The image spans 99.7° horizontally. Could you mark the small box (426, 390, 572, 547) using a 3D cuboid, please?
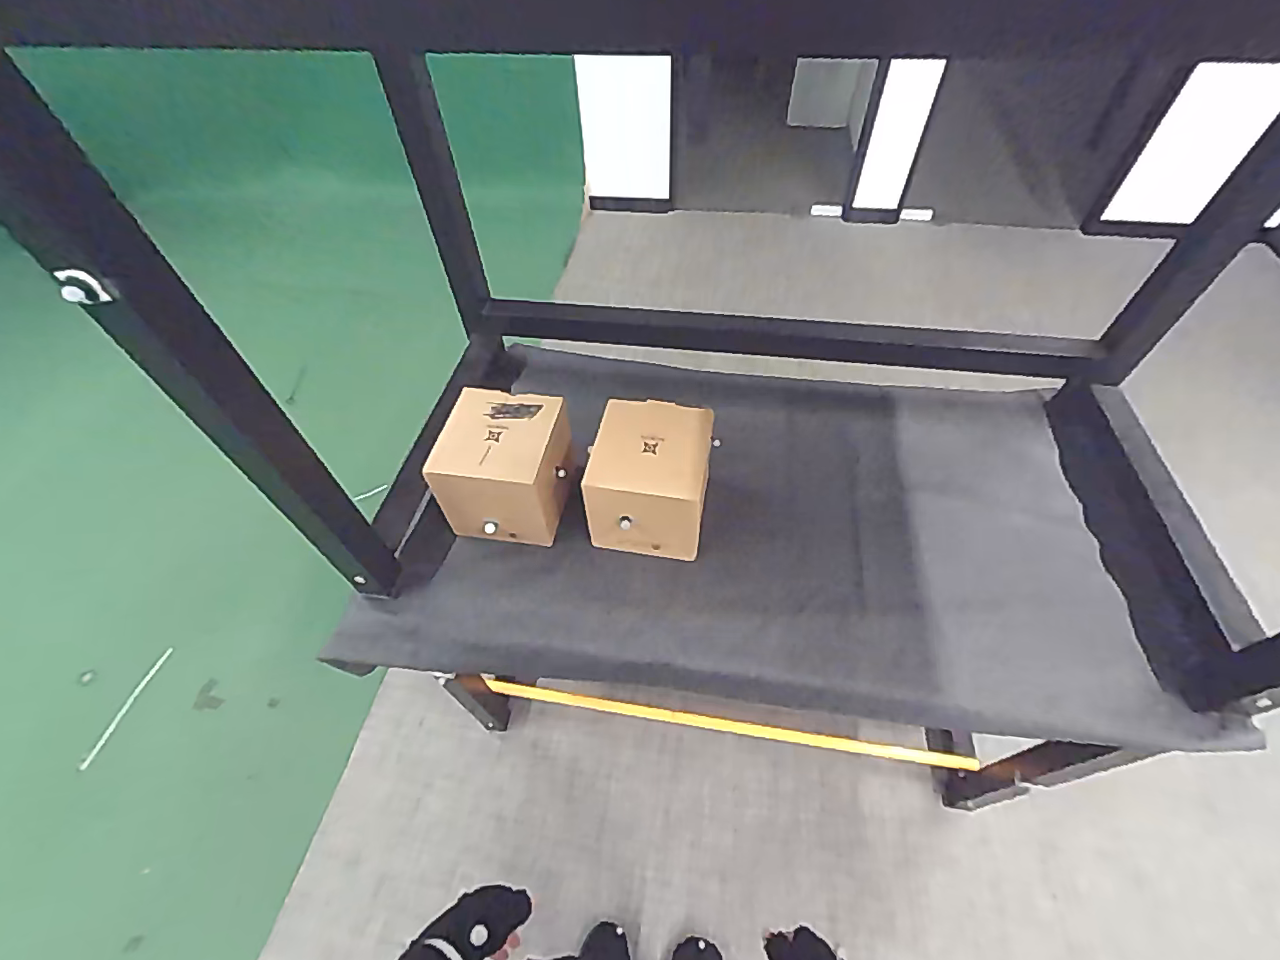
[{"bbox_3d":[-0.211,-0.017,0.869,0.168,0.176,0.179,7,53,7],"label":"small box"}]

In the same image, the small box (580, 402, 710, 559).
[{"bbox_3d":[0.015,0.004,0.849,0.168,0.176,0.179,8,52,7],"label":"small box"}]
